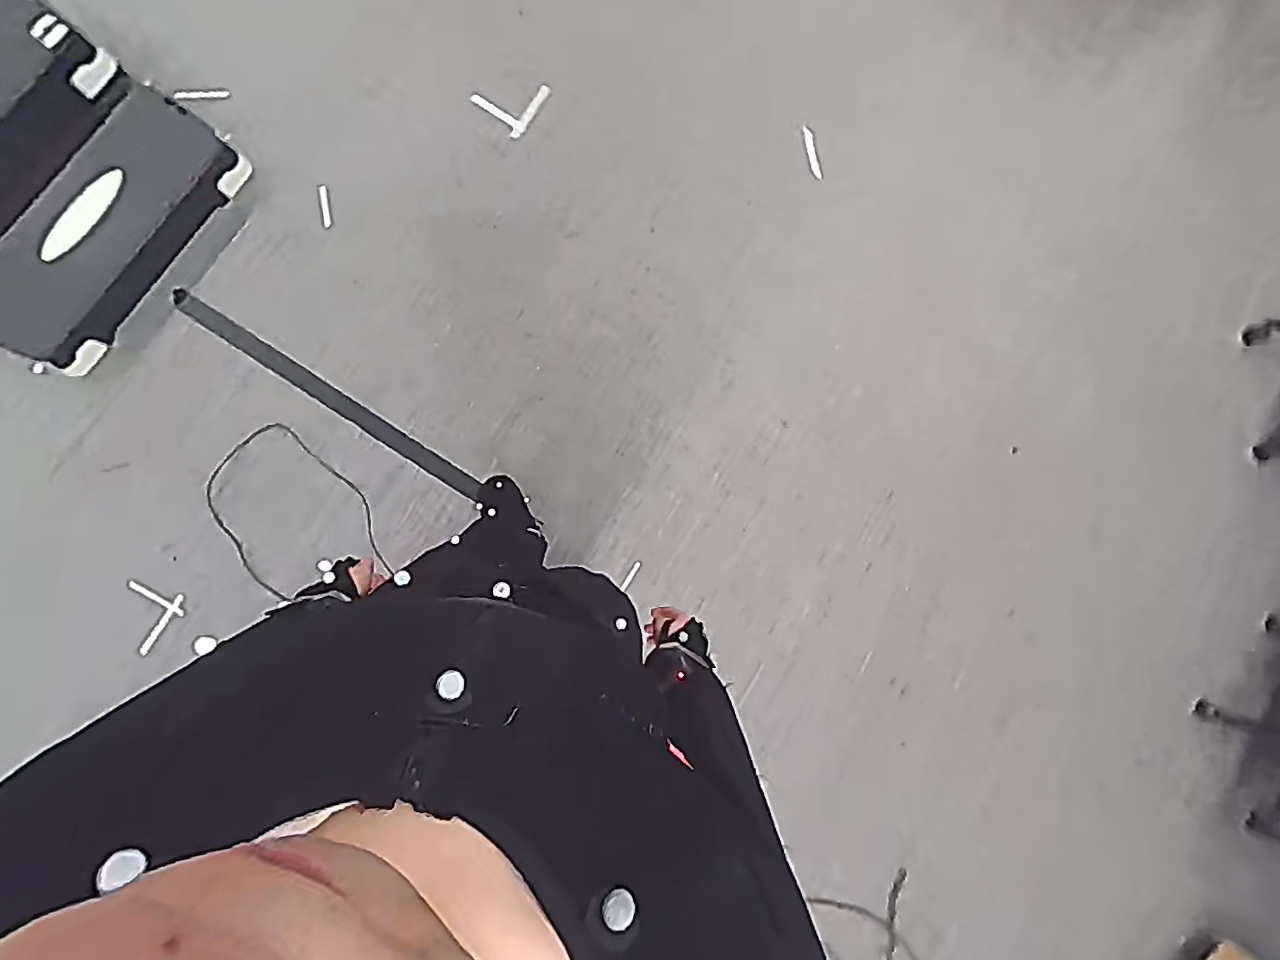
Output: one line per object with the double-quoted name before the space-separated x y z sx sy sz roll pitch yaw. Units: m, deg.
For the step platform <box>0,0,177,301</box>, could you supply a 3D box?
"step platform" -1.441 -0.719 1.209 0.286 0.204 0.684 38 80 -2
